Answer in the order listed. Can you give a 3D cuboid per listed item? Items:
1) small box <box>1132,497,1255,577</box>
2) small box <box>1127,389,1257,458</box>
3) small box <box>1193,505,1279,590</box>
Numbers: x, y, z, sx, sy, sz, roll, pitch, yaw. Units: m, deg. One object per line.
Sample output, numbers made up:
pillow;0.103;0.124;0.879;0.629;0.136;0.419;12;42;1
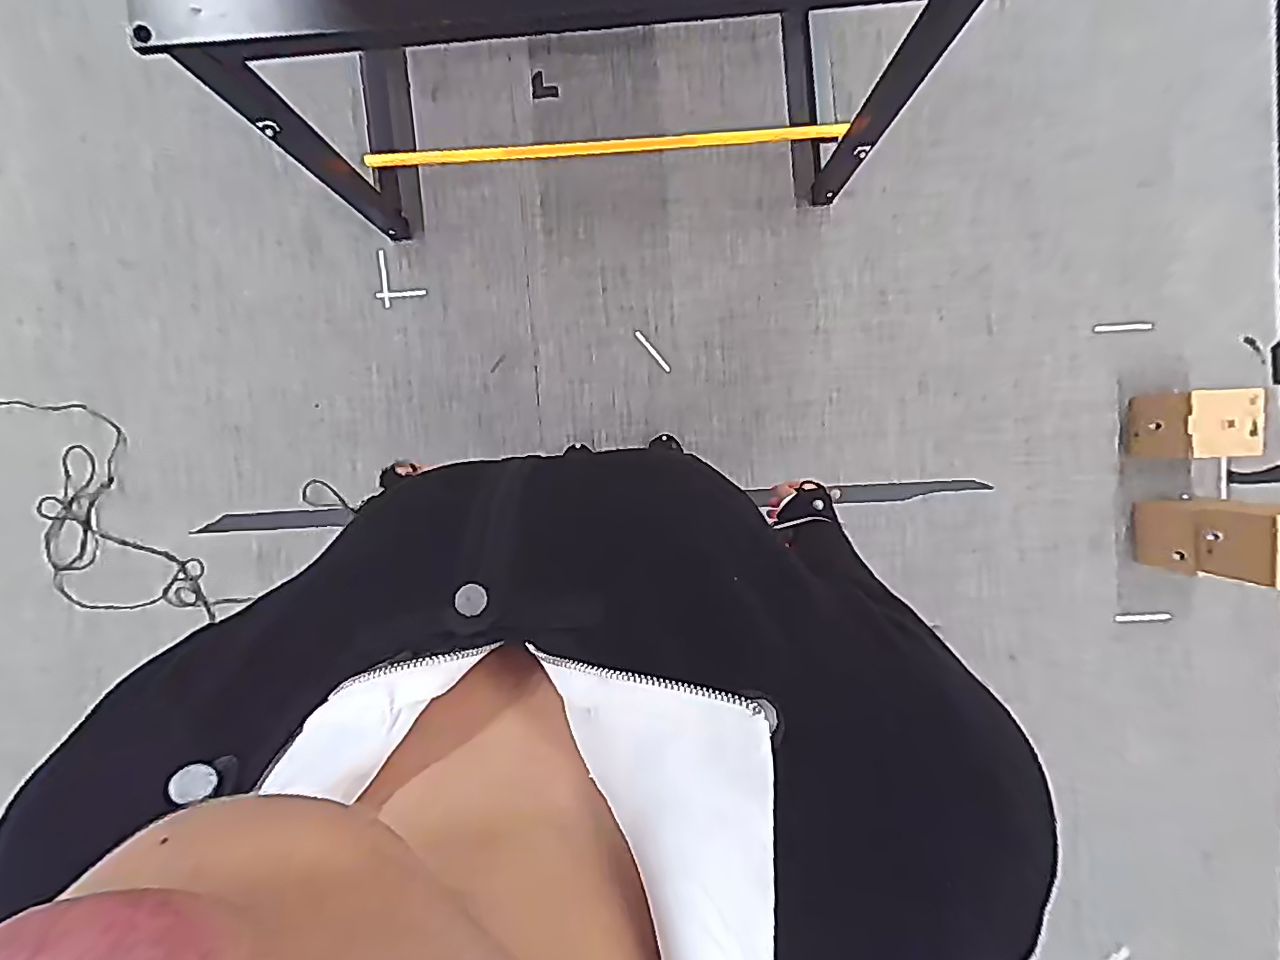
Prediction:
small box;1.435;0.144;1.410;0.168;0.176;0.179;-5;94;0
small box;1.409;-0.141;1.392;0.179;0.176;0.168;-2;93;1
small box;1.446;0.149;1.247;0.179;0.176;0.168;-3;93;2
